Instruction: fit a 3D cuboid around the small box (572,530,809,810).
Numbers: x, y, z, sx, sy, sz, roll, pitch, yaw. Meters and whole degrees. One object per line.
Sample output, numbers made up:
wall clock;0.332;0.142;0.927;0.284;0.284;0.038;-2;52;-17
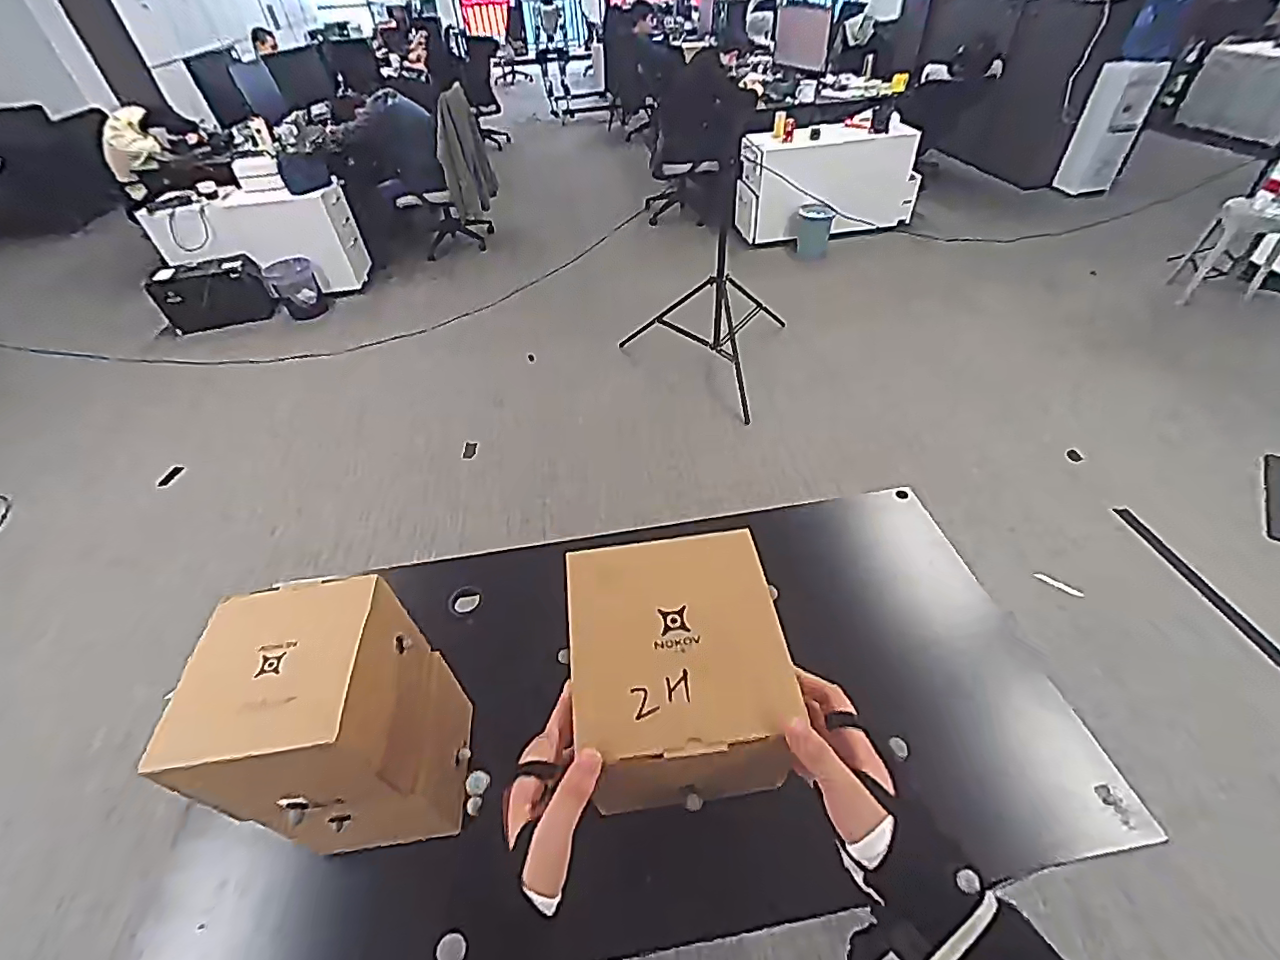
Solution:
small box;0.032;0.171;0.486;0.168;0.176;0.179;-7;48;-2

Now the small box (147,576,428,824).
small box;-0.338;0.230;0.568;0.168;0.176;0.179;-9;45;-3

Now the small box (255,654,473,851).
small box;-0.326;0.345;0.682;0.179;0.176;0.168;-7;44;-4
